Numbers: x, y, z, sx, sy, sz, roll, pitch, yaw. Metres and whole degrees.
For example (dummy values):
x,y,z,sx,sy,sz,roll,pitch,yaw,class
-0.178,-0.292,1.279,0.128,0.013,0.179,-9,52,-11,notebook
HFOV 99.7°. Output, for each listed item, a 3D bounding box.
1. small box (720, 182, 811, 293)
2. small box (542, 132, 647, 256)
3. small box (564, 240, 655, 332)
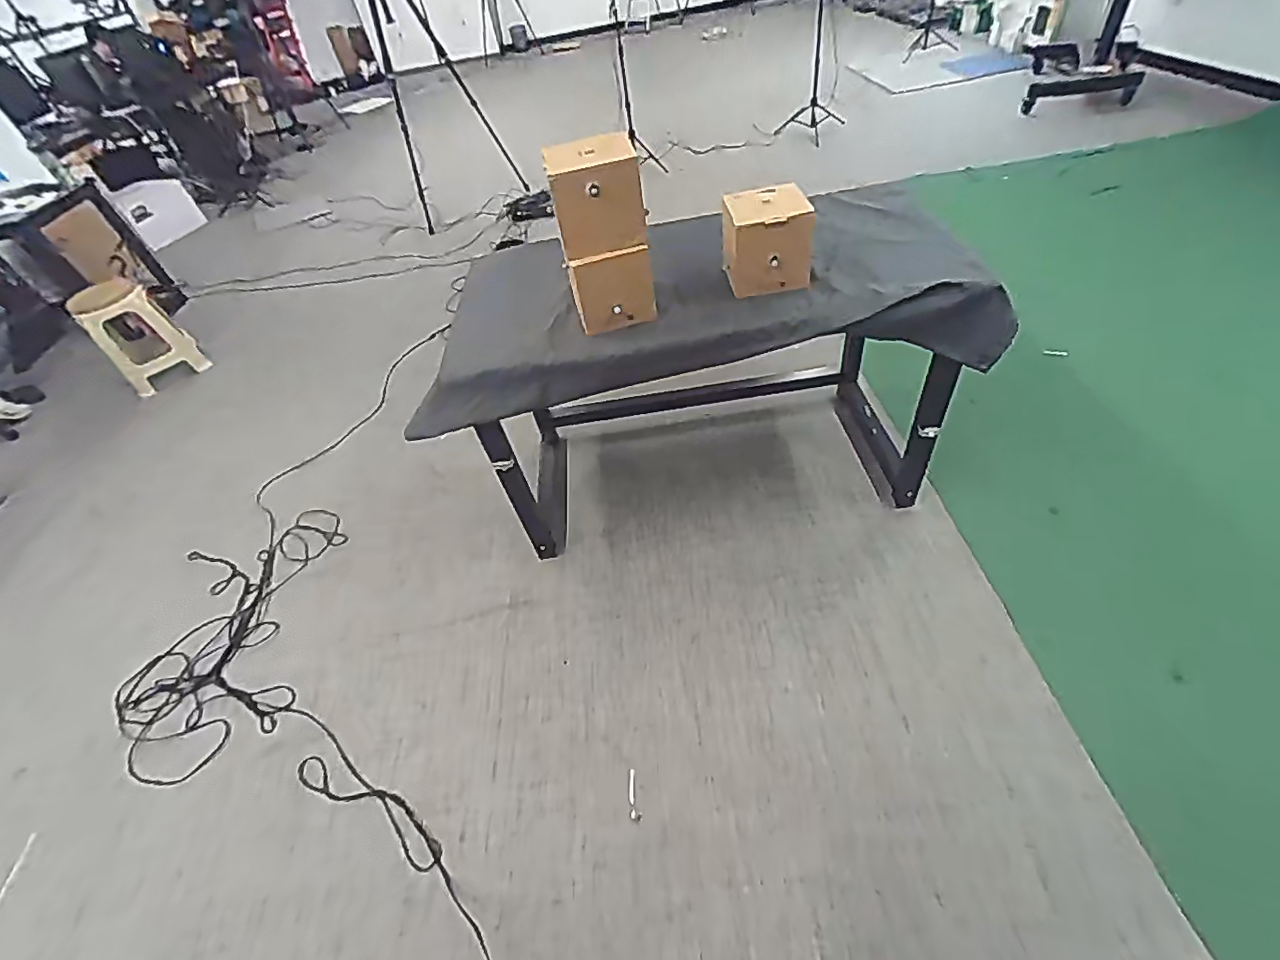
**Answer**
x,y,z,sx,sy,sz,roll,pitch,yaw,class
0.279,-0.539,1.221,0.168,0.176,0.179,-8,47,4,small box
-0.091,-0.580,1.105,0.179,0.176,0.168,-12,48,-2,small box
-0.071,-0.460,1.213,0.168,0.176,0.179,-16,48,-4,small box
